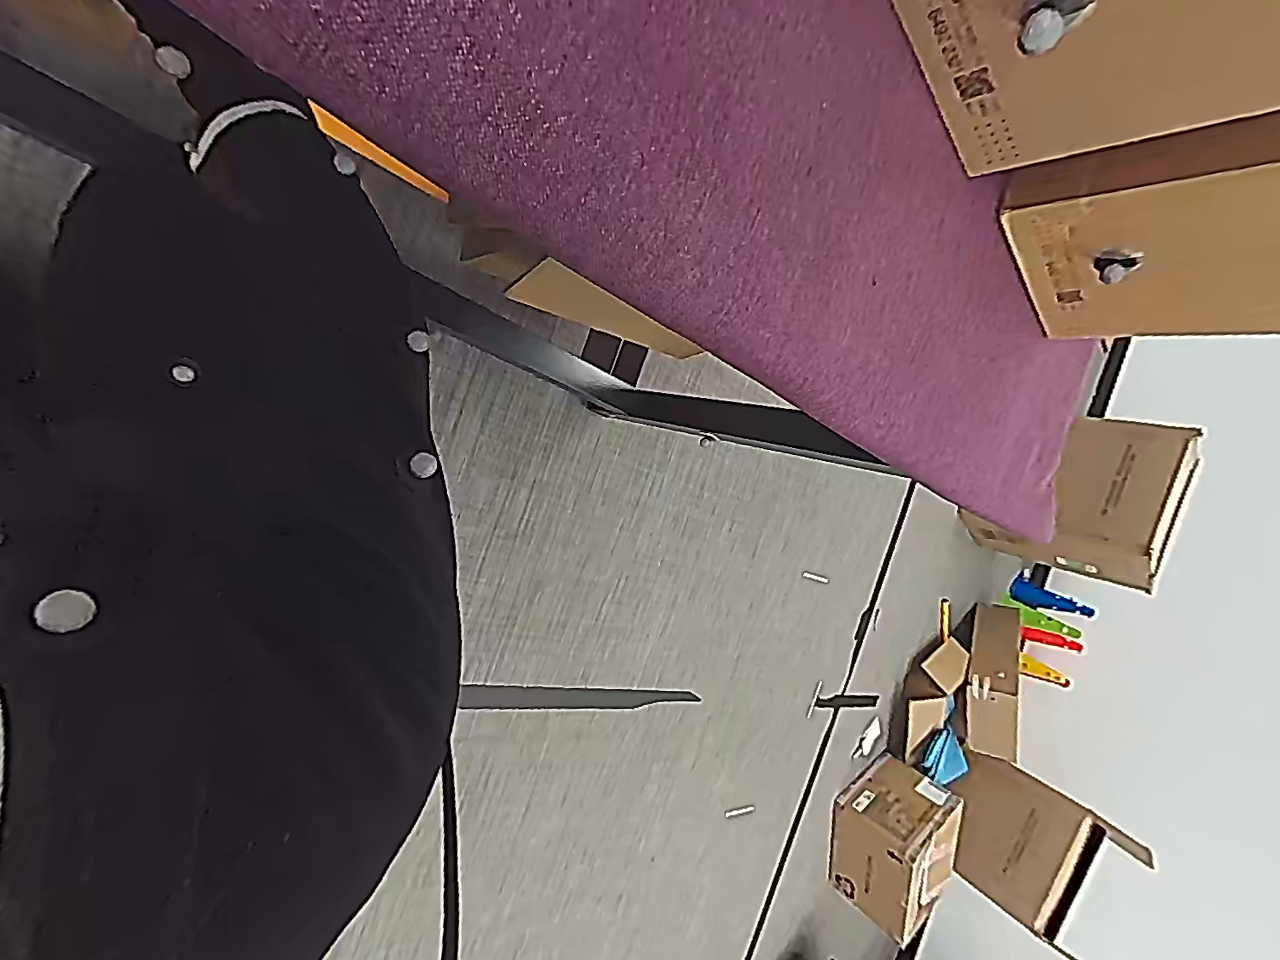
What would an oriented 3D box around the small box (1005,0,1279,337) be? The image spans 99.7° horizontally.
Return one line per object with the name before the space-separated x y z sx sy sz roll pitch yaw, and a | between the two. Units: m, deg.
small box | 0.365 -0.209 0.345 0.168 0.176 0.179 25 85 -40
